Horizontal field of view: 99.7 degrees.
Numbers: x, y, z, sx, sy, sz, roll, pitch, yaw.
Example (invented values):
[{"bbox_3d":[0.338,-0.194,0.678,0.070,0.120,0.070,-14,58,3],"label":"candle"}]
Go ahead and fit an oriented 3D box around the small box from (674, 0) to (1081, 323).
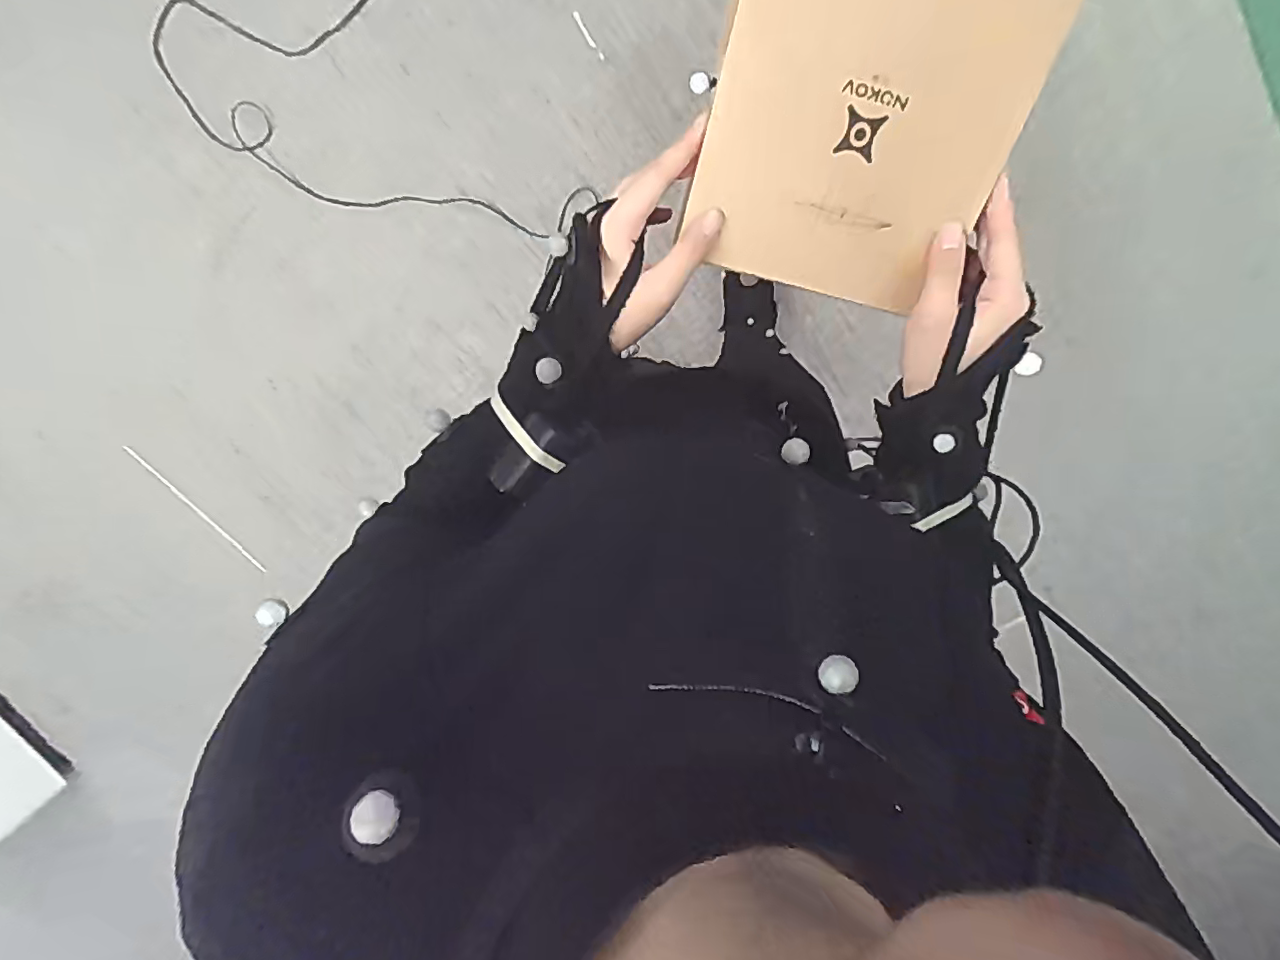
[{"bbox_3d":[0.120,-0.225,0.358,0.168,0.176,0.179,13,117,-4],"label":"small box"}]
